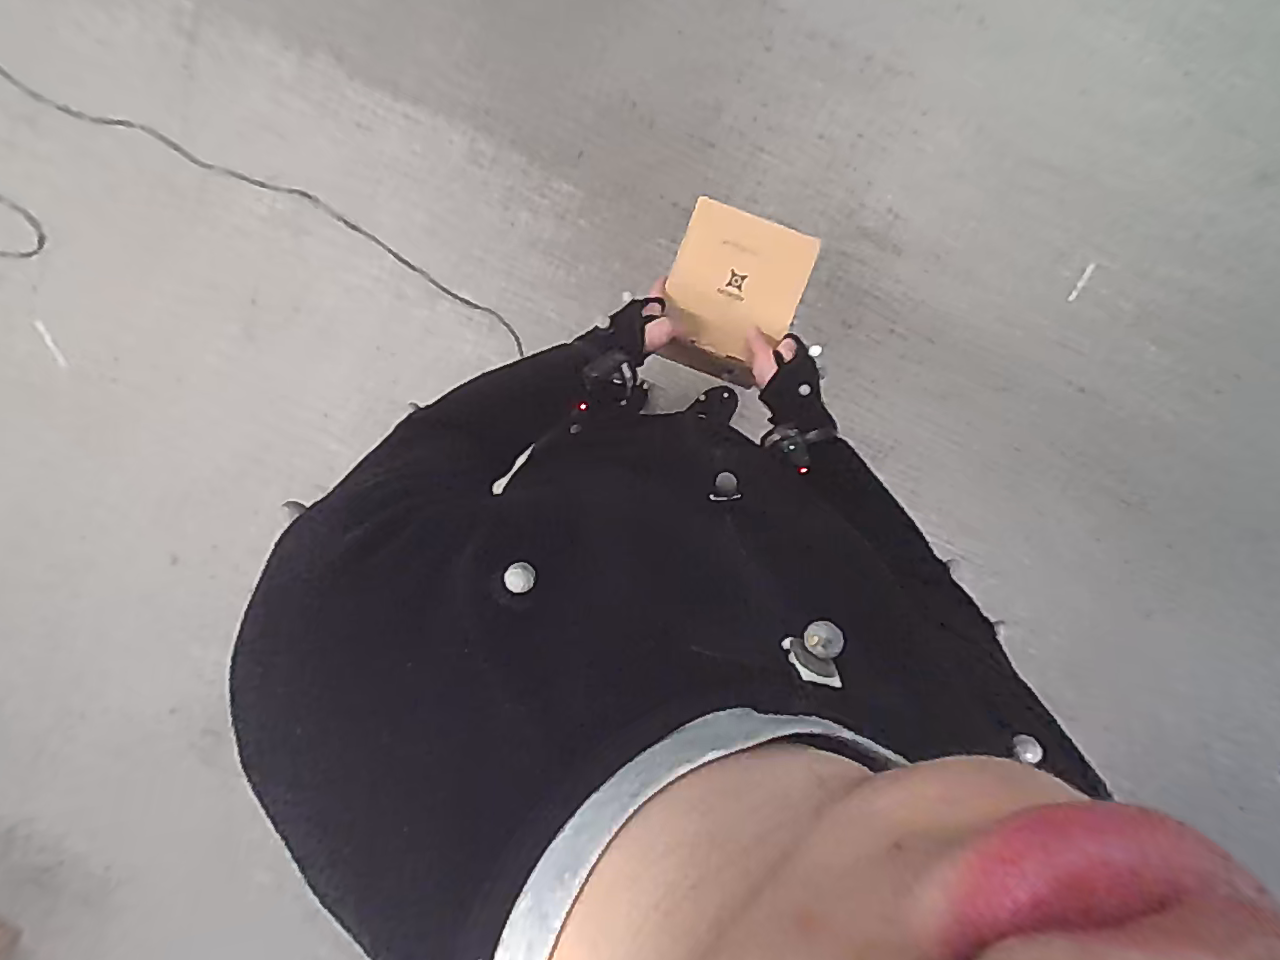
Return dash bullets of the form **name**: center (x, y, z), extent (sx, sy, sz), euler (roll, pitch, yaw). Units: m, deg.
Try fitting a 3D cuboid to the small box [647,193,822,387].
- **small box**: center (0.118, -0.241, 0.736), extent (0.168, 0.176, 0.179), euler (21, 91, 0)
